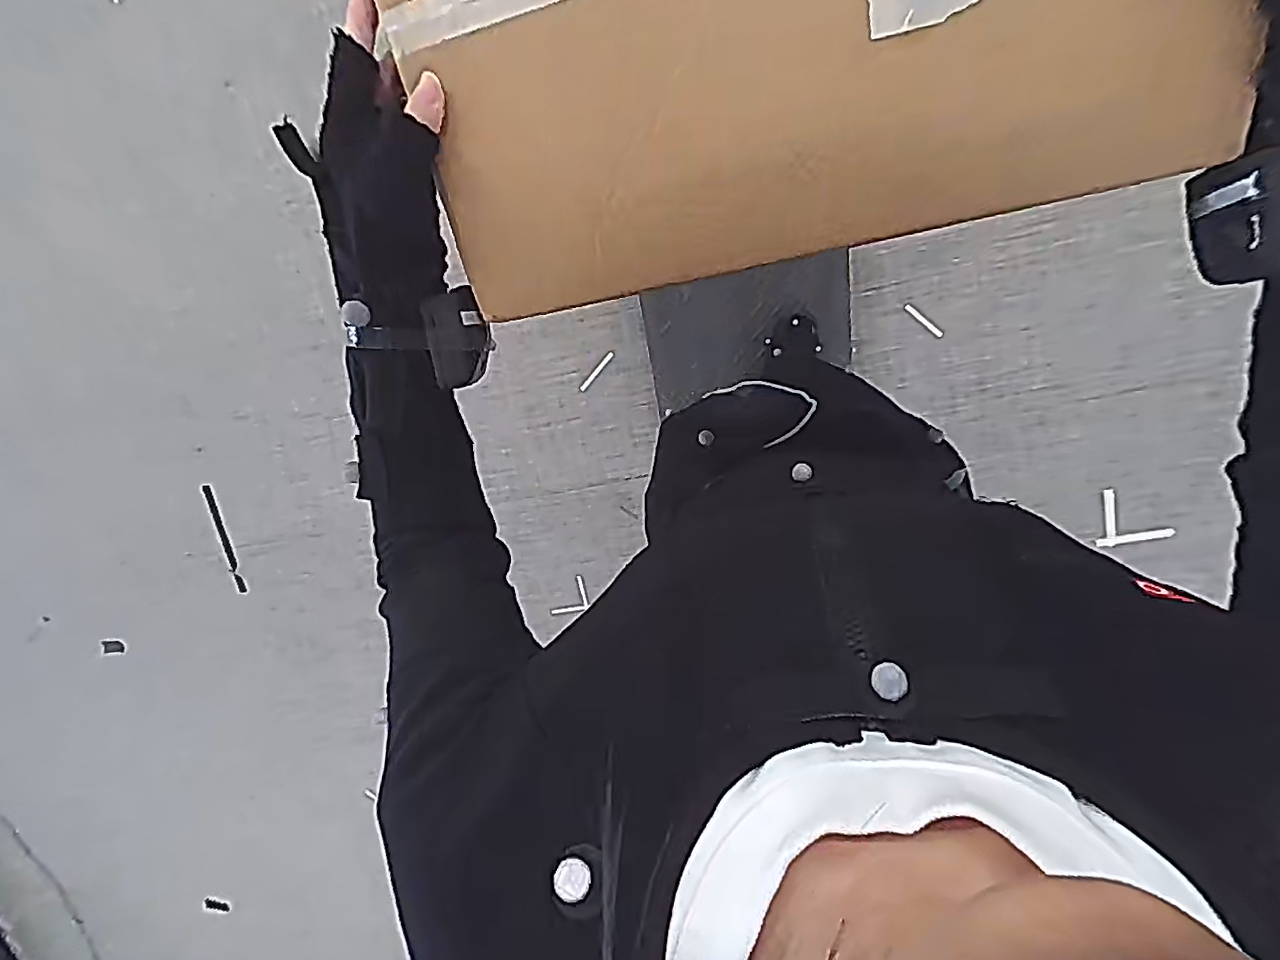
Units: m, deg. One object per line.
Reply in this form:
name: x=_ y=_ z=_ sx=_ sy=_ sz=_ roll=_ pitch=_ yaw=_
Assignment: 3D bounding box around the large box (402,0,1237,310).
large box: x=0.082 y=-0.341 z=0.390 sx=0.408 sy=0.320 sz=0.320 roll=-9 pitch=114 yaw=13
